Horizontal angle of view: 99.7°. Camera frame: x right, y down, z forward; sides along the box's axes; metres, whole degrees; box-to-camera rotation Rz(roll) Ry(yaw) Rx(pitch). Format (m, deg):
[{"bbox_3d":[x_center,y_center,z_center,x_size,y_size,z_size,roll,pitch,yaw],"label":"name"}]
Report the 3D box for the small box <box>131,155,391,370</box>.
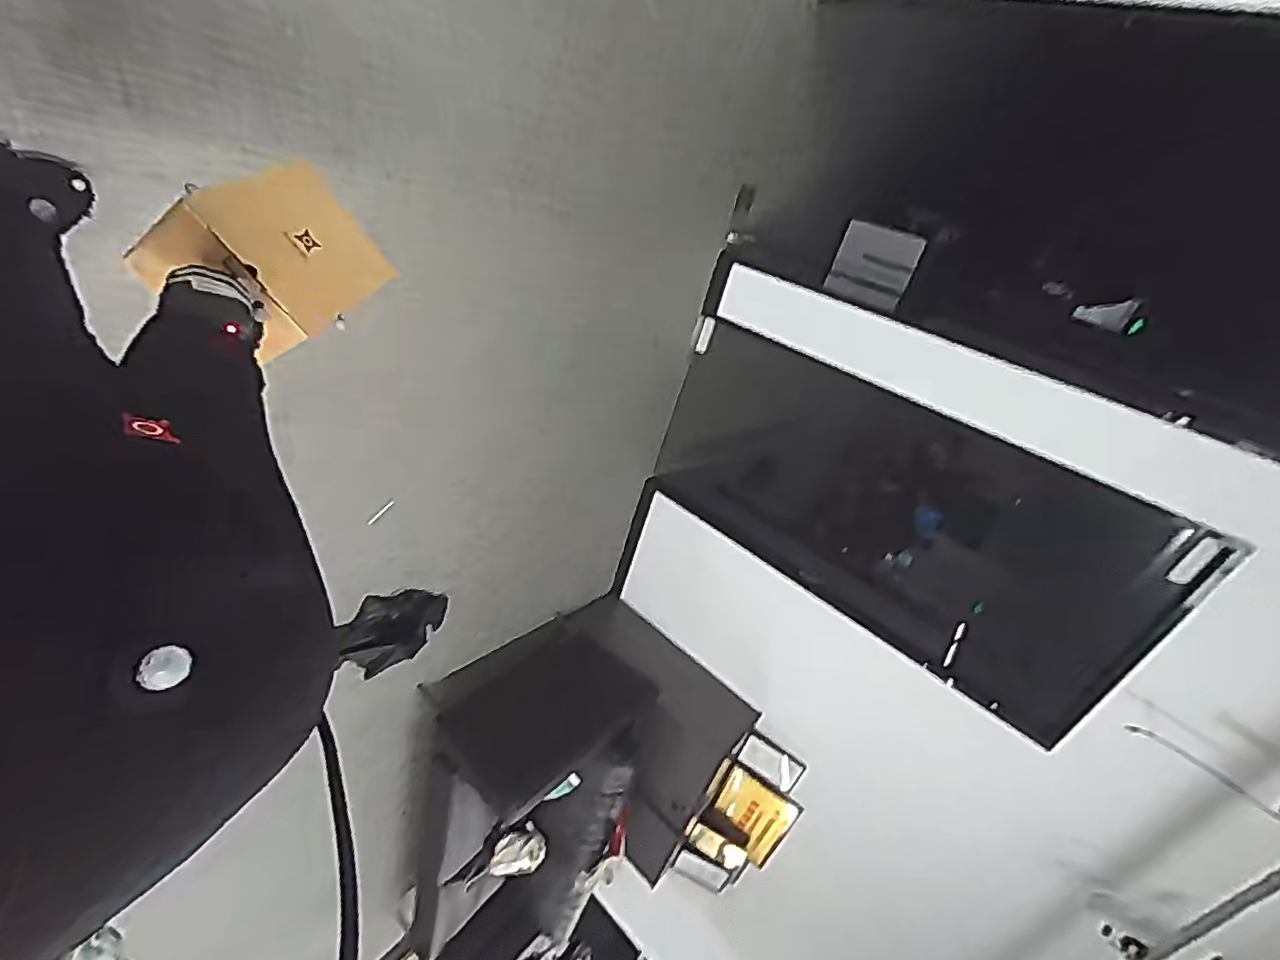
[{"bbox_3d":[-0.465,-0.265,0.675,0.168,0.176,0.179,57,37,-32],"label":"small box"}]
